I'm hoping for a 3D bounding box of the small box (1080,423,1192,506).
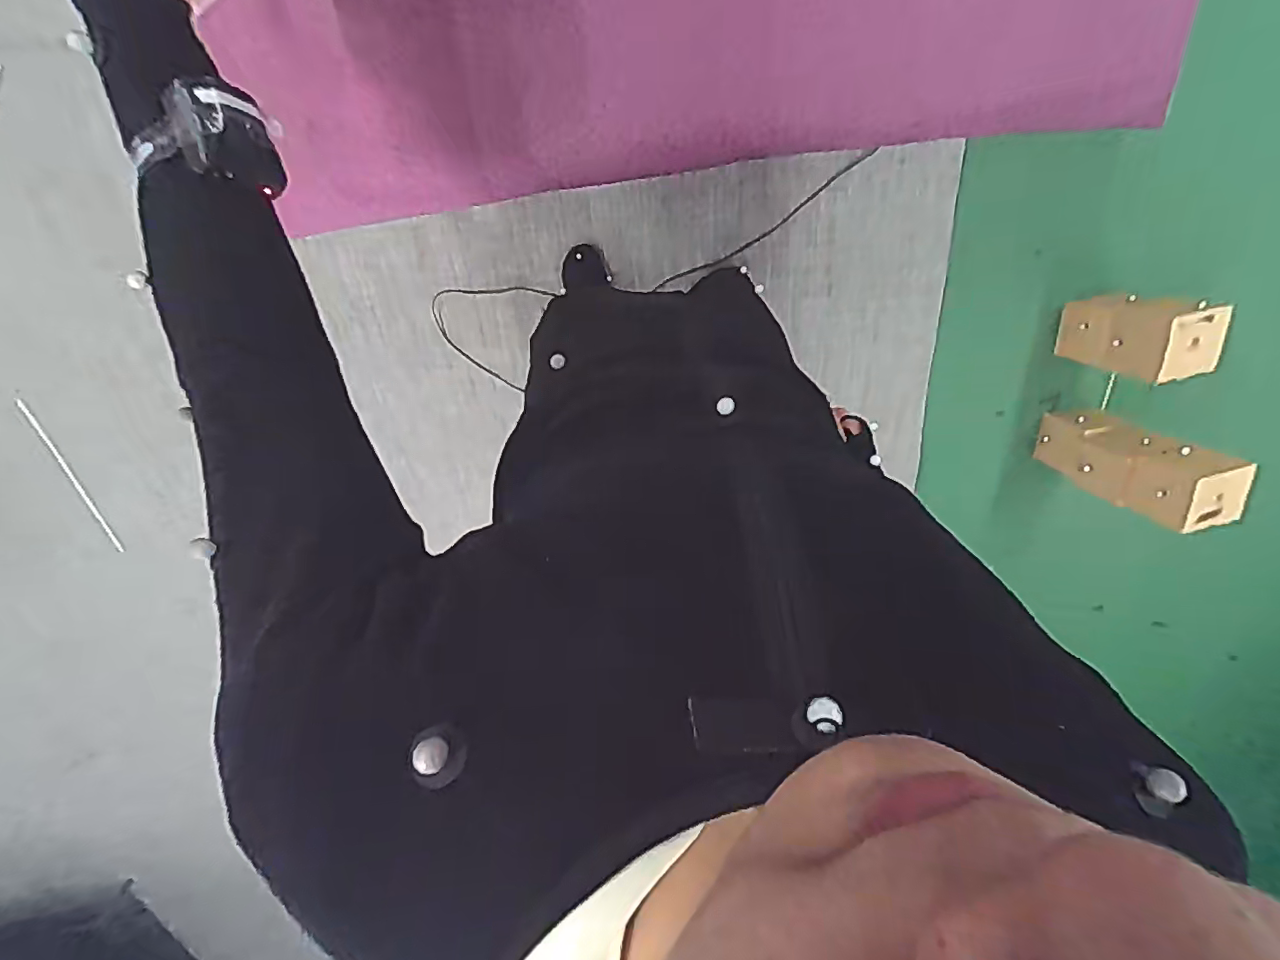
[{"bbox_3d":[1.484,-0.052,1.625,0.179,0.176,0.168,-17,117,1],"label":"small box"}]

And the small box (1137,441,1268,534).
[{"bbox_3d":[1.521,0.017,1.478,0.168,0.176,0.179,-15,117,0],"label":"small box"}]

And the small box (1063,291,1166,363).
[{"bbox_3d":[1.406,-0.455,1.596,0.179,0.176,0.168,-10,117,-3],"label":"small box"}]

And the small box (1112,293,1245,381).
[{"bbox_3d":[1.426,-0.386,1.449,0.168,0.176,0.179,-12,118,-2],"label":"small box"}]
